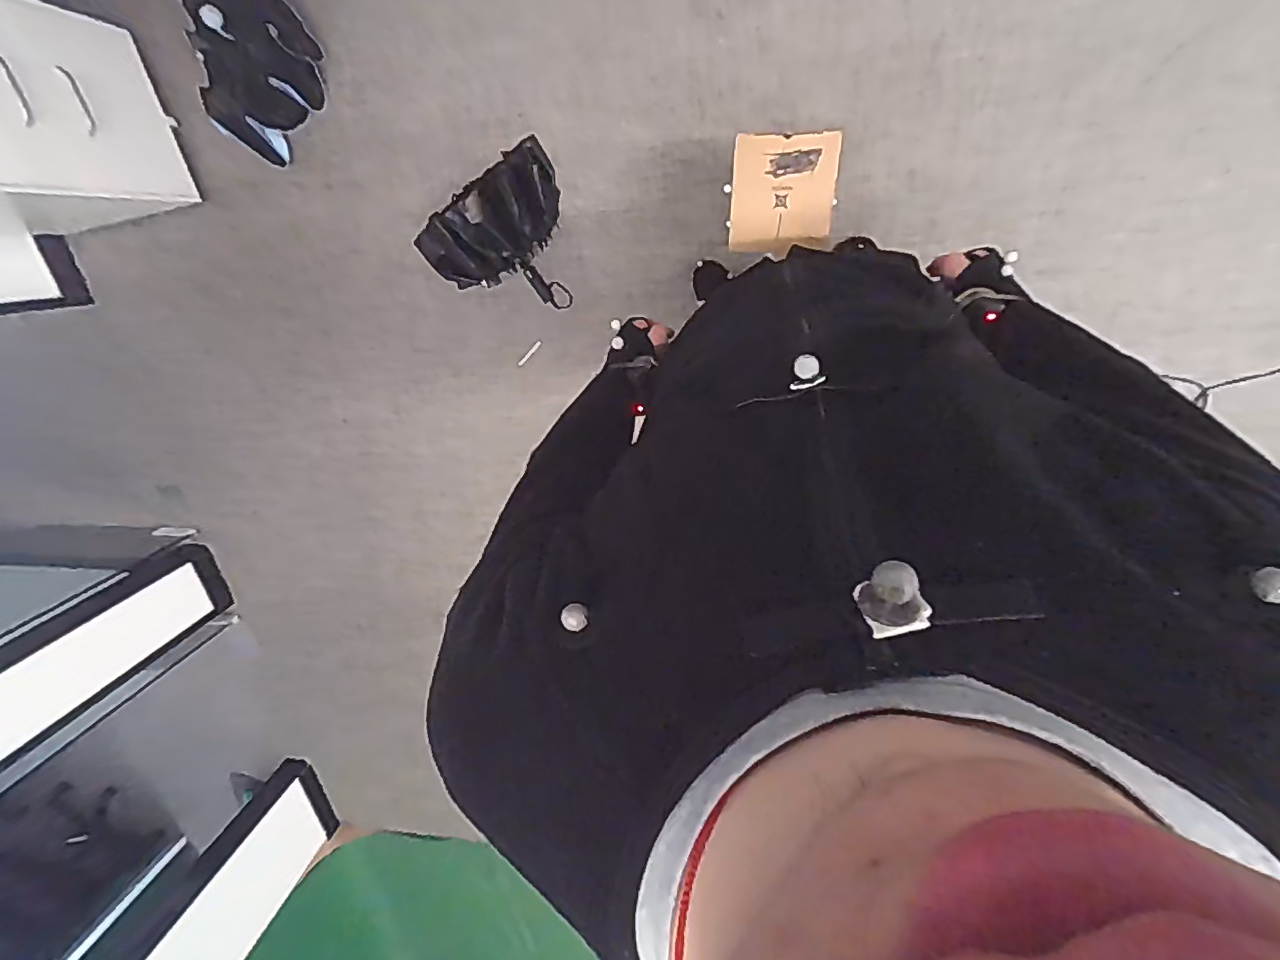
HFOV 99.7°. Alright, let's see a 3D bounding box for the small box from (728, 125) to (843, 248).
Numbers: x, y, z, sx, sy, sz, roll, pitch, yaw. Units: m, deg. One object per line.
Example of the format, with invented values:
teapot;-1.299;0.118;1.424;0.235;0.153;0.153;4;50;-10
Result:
small box;0.244;-0.508;0.950;0.168;0.176;0.179;5;116;9
